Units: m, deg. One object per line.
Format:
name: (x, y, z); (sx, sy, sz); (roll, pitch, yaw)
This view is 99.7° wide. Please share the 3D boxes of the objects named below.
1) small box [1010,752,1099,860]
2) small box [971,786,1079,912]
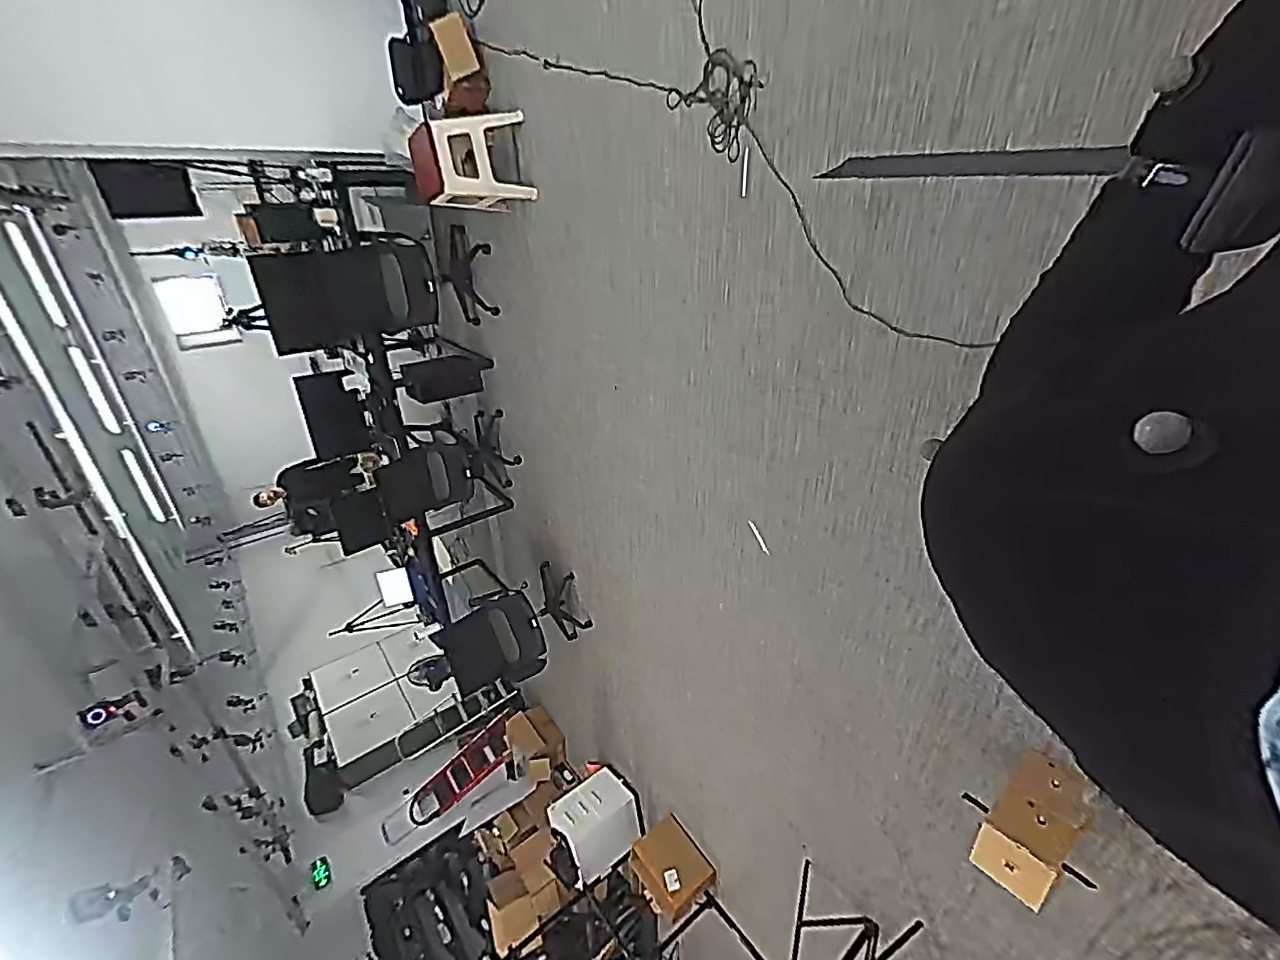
small box: (1.136, 0.906, 1.504); (0.168, 0.176, 0.179); (26, 129, 47)
small box: (1.008, 0.958, 1.417); (0.168, 0.176, 0.179); (27, 128, 46)
